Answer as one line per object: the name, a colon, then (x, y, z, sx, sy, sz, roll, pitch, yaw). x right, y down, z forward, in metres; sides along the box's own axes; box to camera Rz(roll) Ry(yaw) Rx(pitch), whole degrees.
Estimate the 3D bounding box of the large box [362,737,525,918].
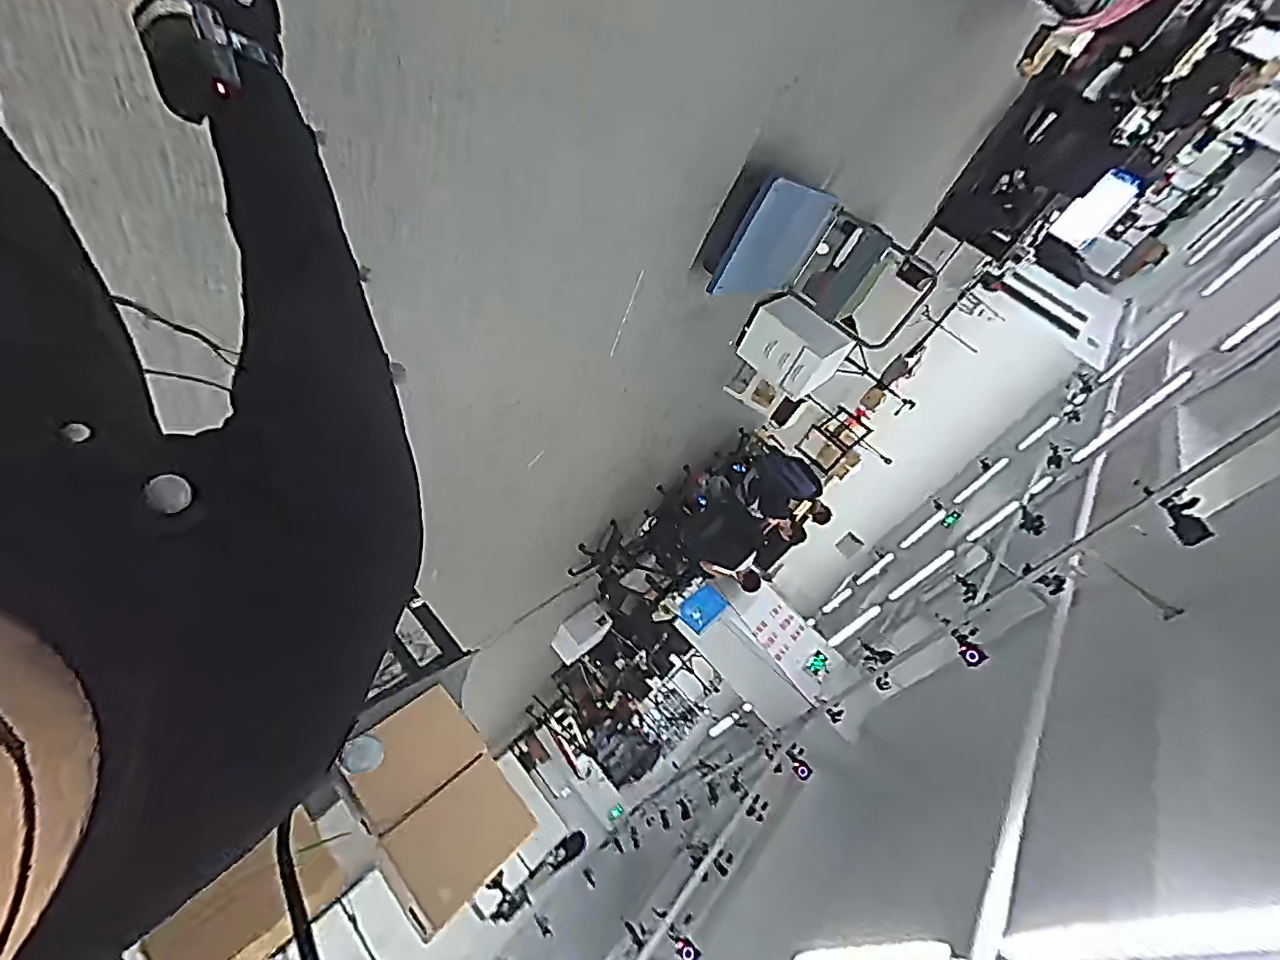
large box: (-0.671, 1.171, 1.848, 0.408, 0.320, 0.320, -27, 156, -44)
